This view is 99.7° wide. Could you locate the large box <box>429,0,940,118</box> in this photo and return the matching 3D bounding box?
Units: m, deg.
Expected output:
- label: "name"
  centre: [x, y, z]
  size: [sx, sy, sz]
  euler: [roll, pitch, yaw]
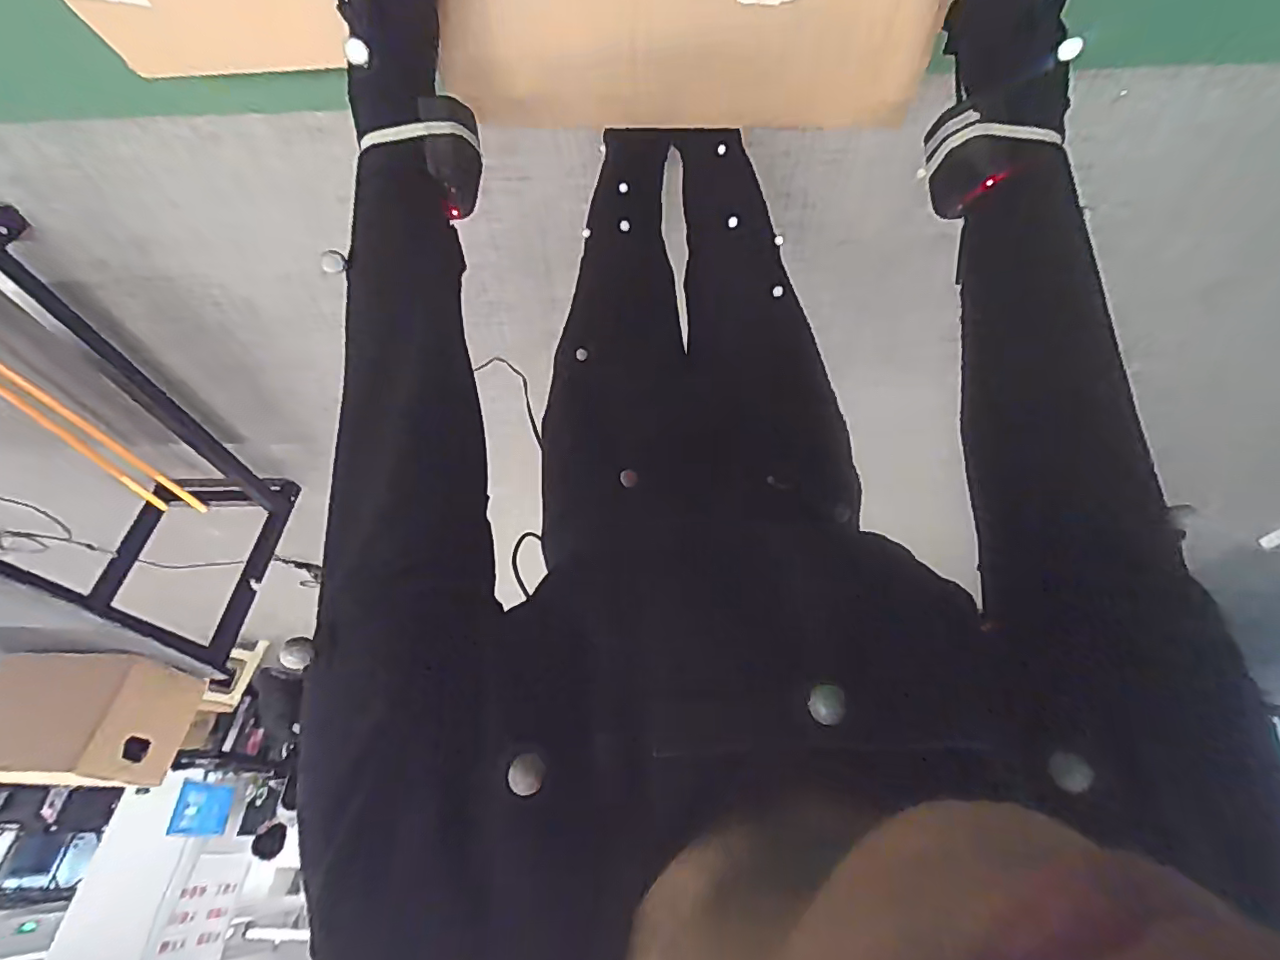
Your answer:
- label: "large box"
  centre: [0.031, -0.536, 0.436]
  size: [0.408, 0.320, 0.320]
  euler: [0, 147, 0]
